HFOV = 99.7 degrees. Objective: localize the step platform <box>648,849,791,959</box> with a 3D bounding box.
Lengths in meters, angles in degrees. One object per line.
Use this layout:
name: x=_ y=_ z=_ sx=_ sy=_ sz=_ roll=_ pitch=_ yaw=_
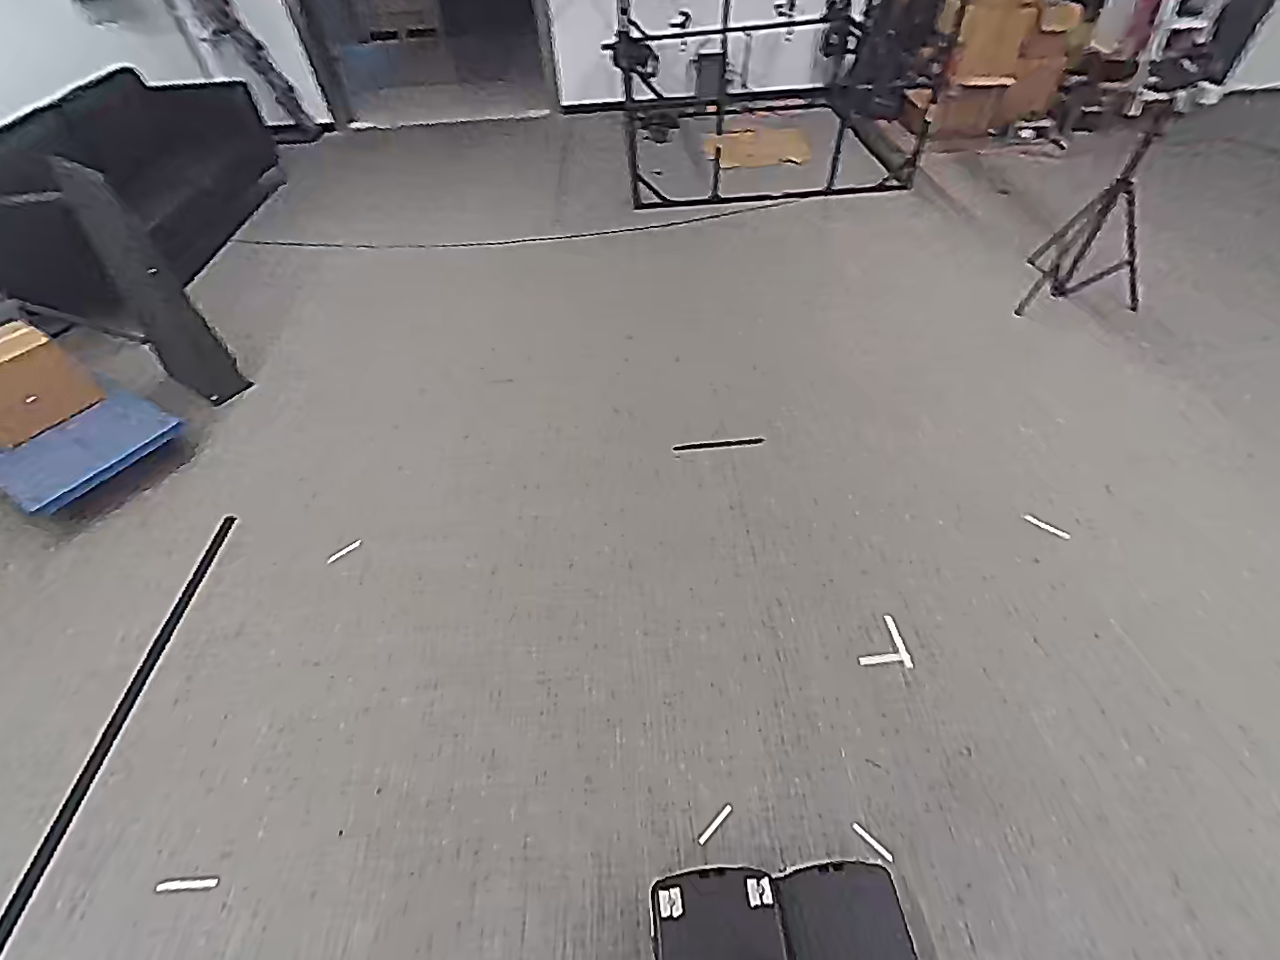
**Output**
step platform: x=0.187 y=1.149 z=1.076 sx=0.286 sy=0.204 sz=0.684 roll=-6 pitch=47 yaw=-1
